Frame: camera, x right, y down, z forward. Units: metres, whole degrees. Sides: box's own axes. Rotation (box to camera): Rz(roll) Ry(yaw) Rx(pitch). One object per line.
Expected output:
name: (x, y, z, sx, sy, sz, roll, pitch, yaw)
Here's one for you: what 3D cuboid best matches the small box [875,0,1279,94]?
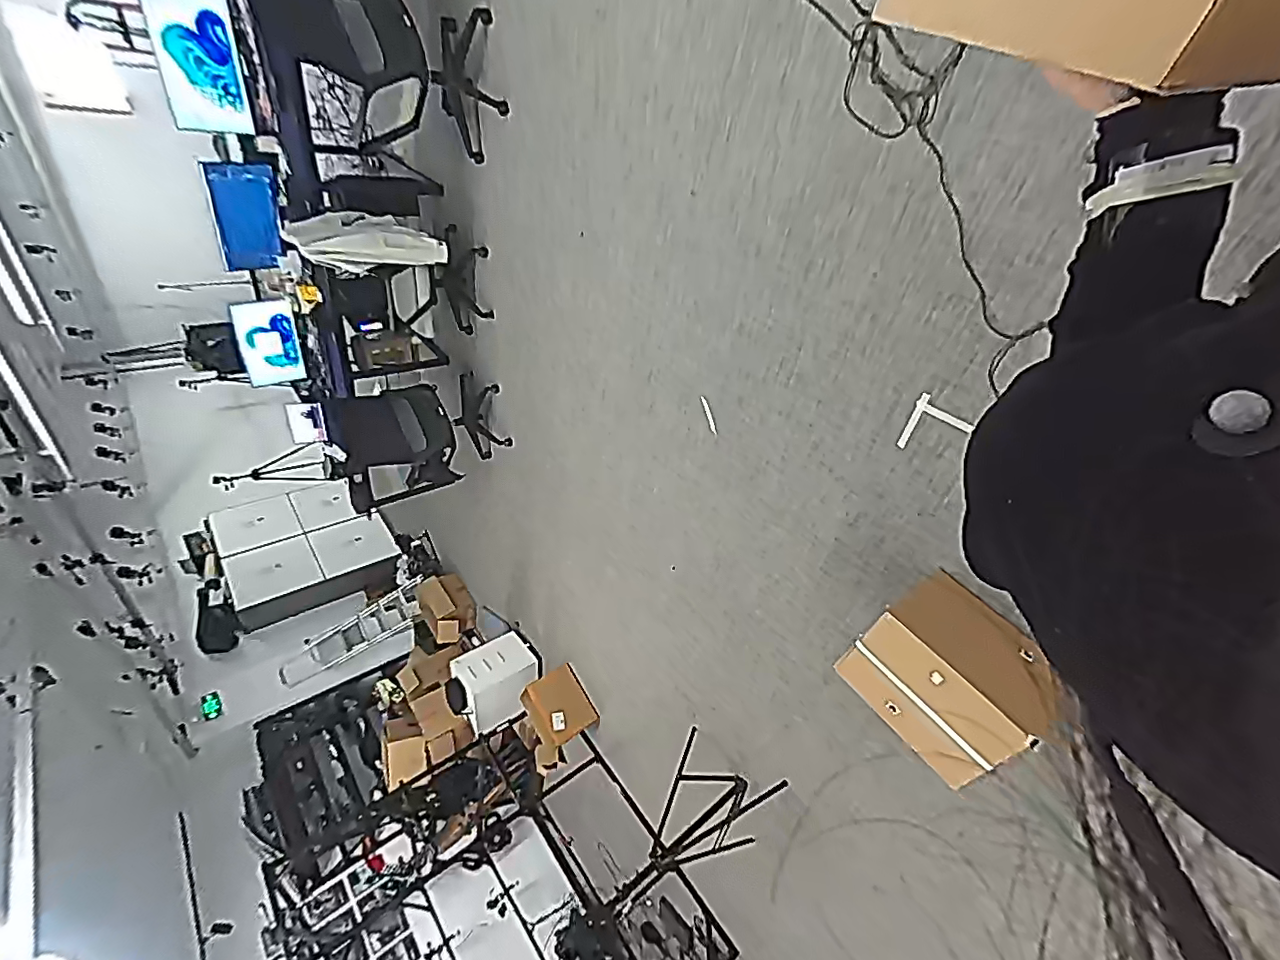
small box: (0.266, -0.313, 0.266, 0.179, 0.176, 0.168, 52, 151, 34)
